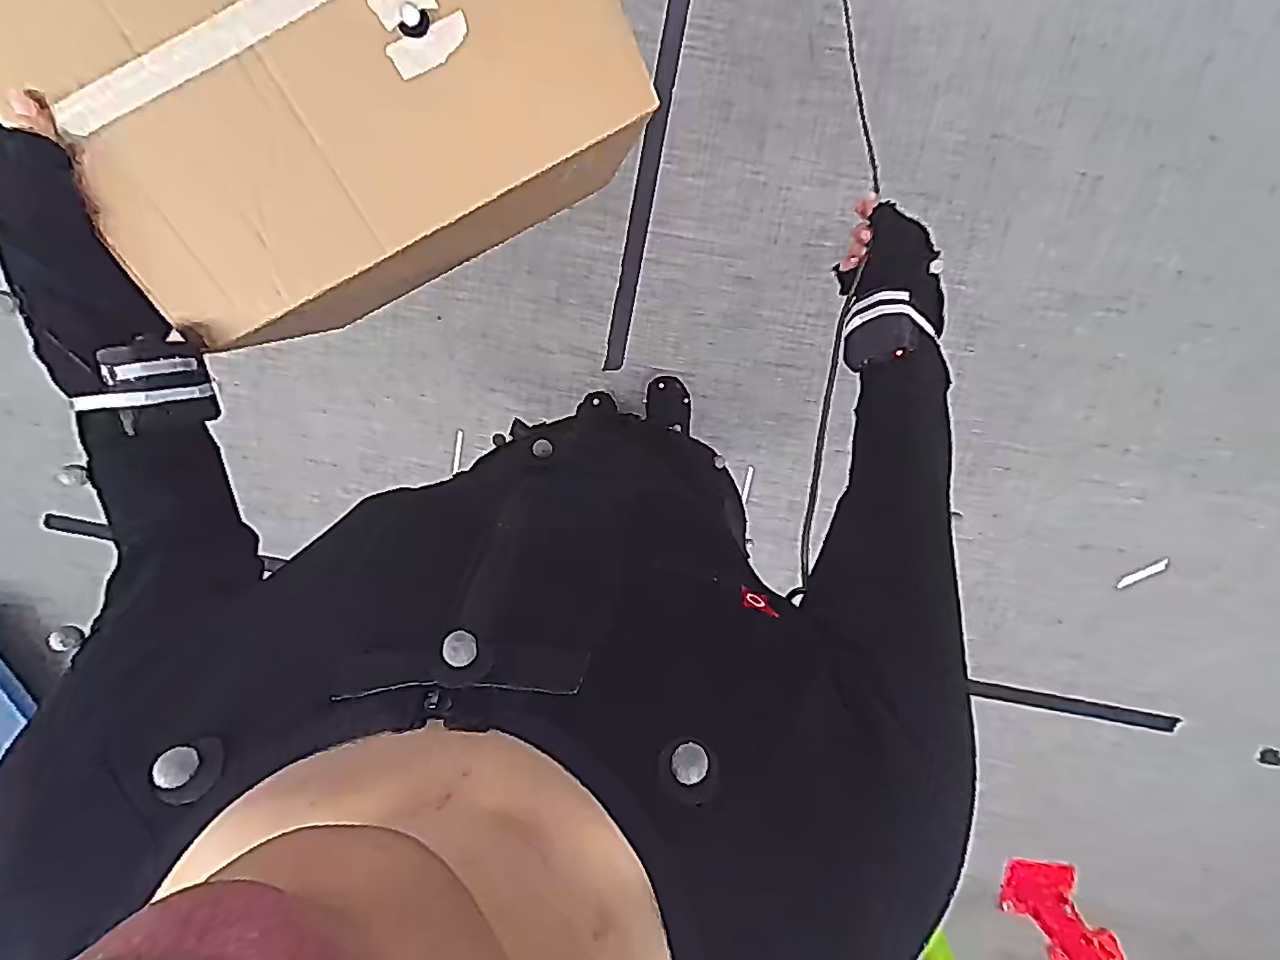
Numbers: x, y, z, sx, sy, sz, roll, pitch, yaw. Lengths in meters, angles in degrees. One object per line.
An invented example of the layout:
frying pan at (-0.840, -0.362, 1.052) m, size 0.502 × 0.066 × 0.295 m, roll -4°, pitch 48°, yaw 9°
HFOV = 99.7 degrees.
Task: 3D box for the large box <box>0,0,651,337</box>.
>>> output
large box at (-0.255, -0.374, 0.511) m, size 0.408 × 0.320 × 0.320 m, roll -29°, pitch 112°, yaw 0°
